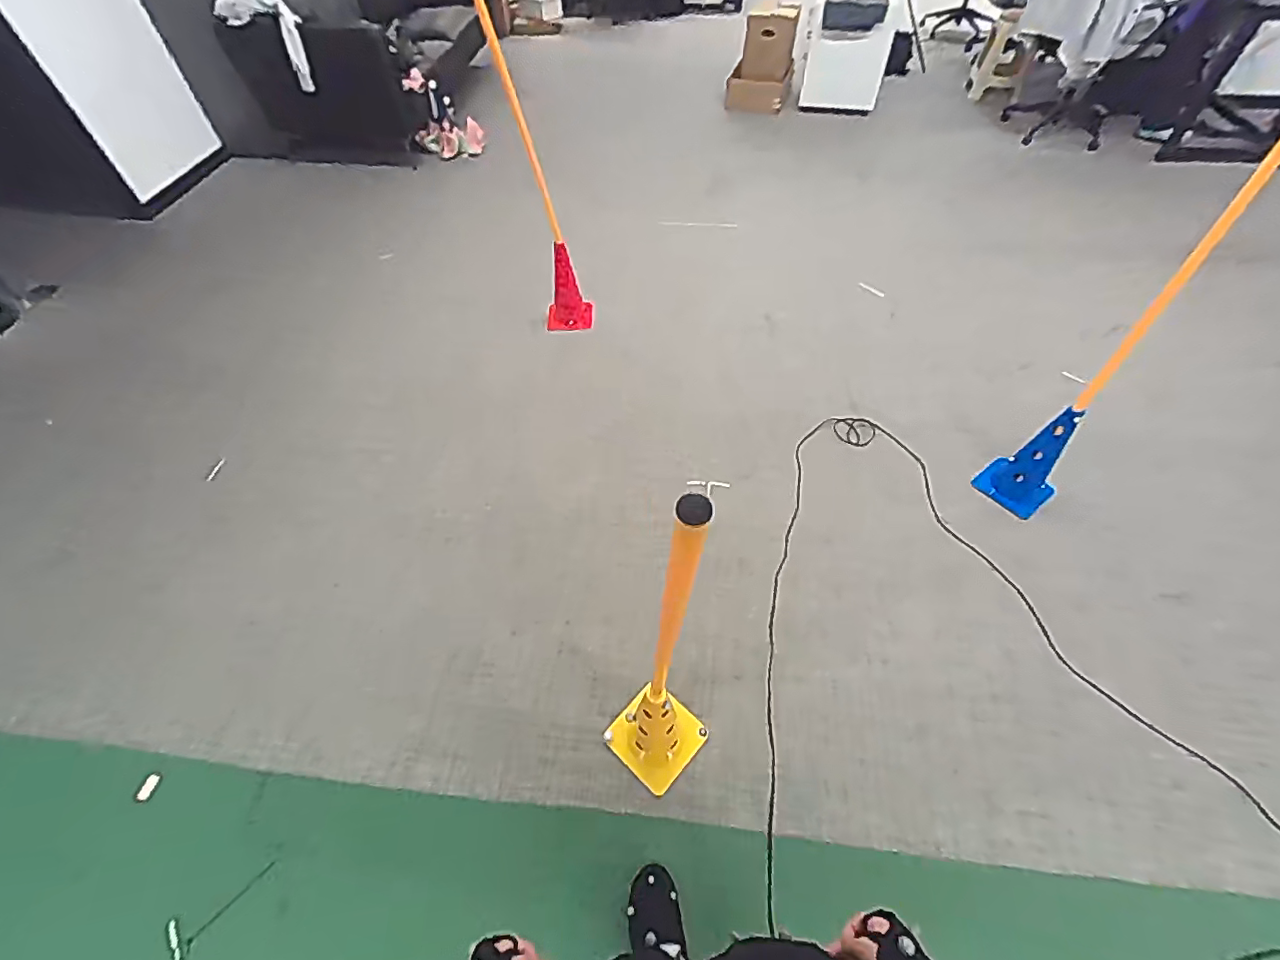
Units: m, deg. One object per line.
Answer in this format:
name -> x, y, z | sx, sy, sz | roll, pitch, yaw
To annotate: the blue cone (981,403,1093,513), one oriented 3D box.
blue cone -> 1.254, -0.093, 1.675 | 0.193, 0.380, 0.192 | -32, 57, -24
